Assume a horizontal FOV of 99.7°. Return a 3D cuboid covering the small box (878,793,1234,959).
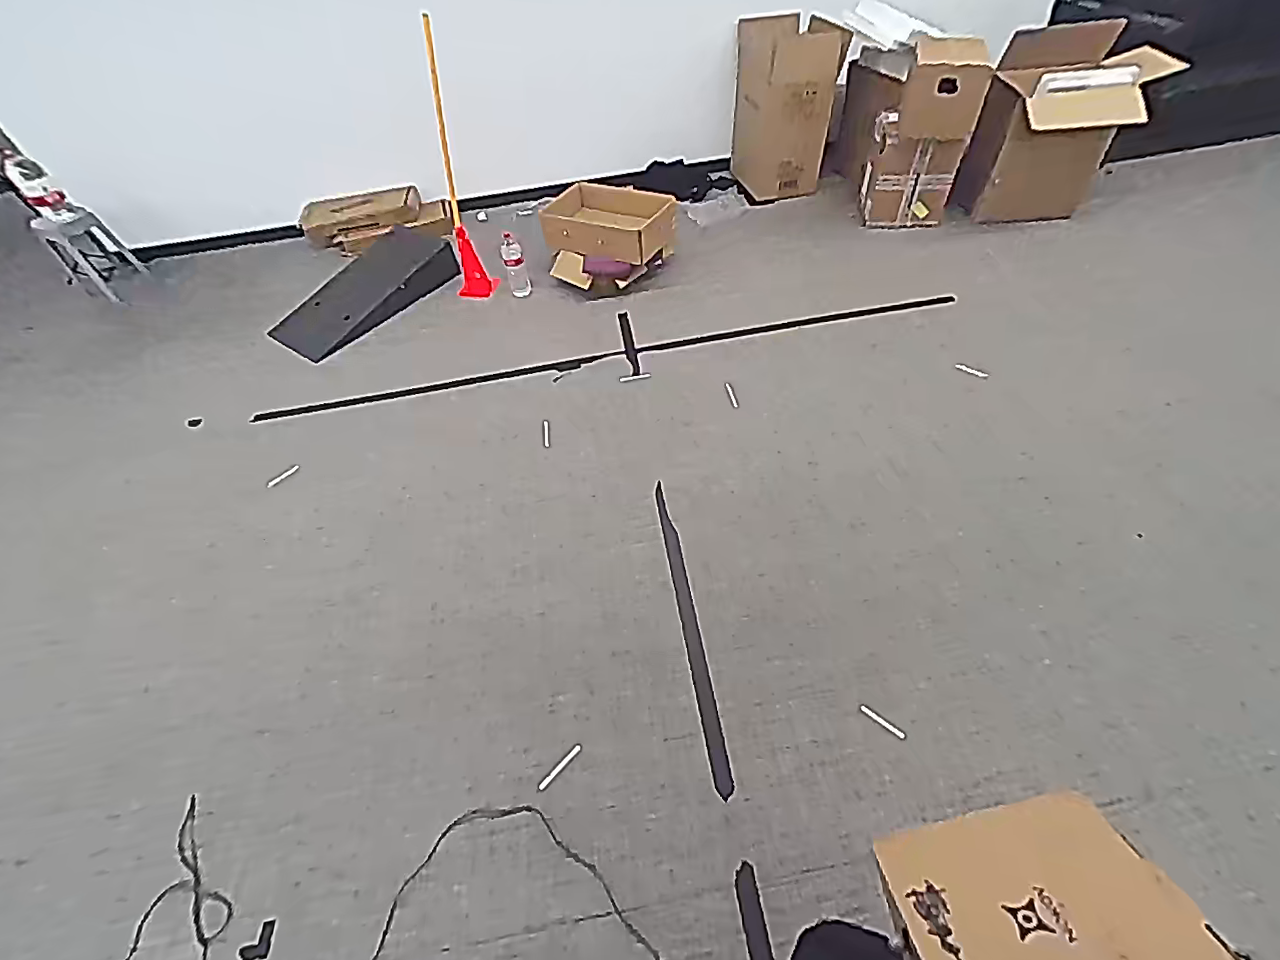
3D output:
[{"bbox_3d":[0.307,0.380,0.400,0.179,0.176,0.168,-18,14,6],"label":"small box"}]
